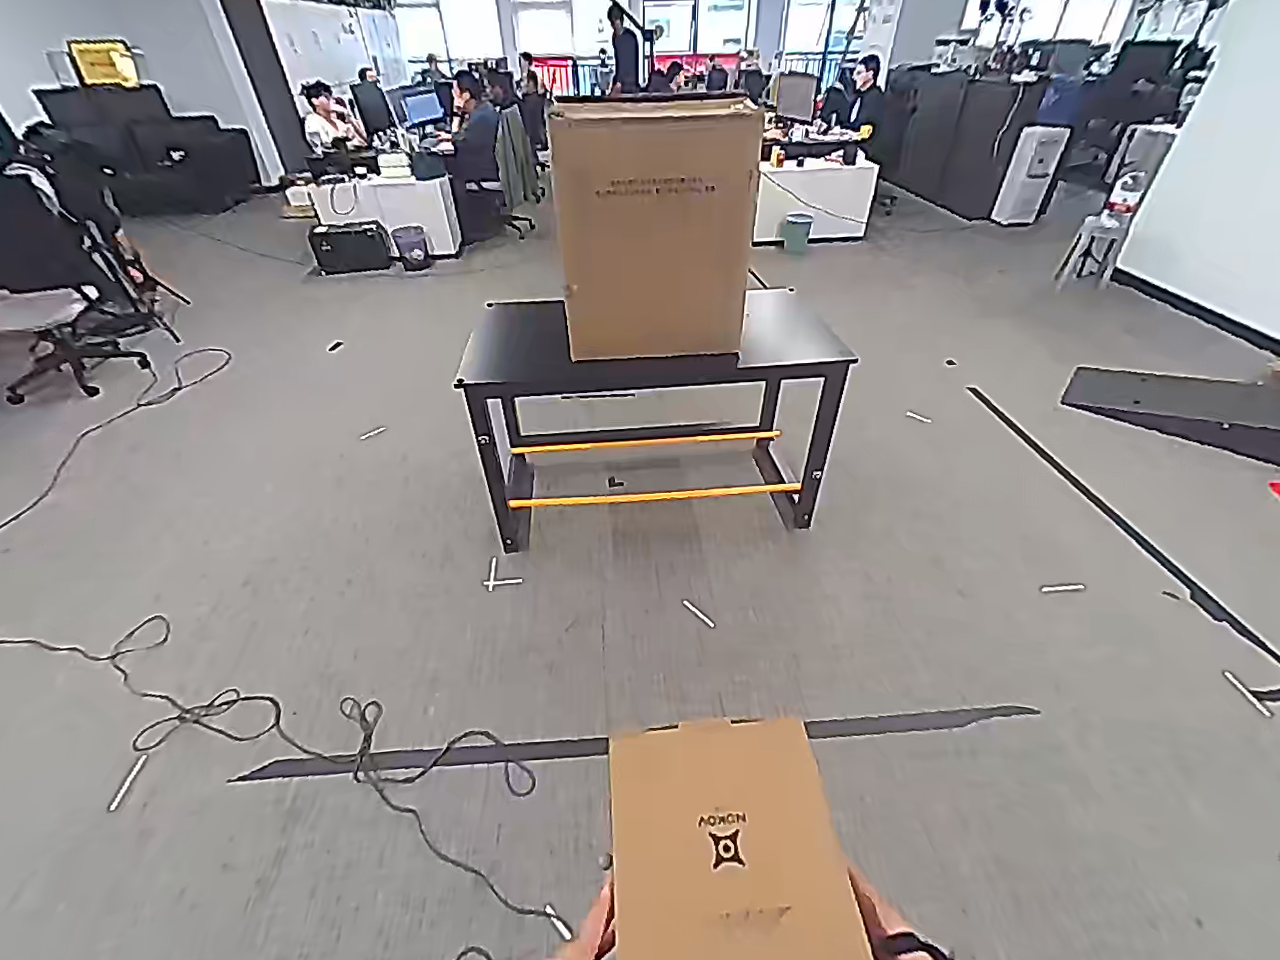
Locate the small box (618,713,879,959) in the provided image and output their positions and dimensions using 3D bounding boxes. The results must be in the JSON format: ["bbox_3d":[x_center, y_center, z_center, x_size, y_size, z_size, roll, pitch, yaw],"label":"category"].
[{"bbox_3d":[0.068,0.321,0.449,0.168,0.176,0.179,-4,42,-2],"label":"small box"}]
